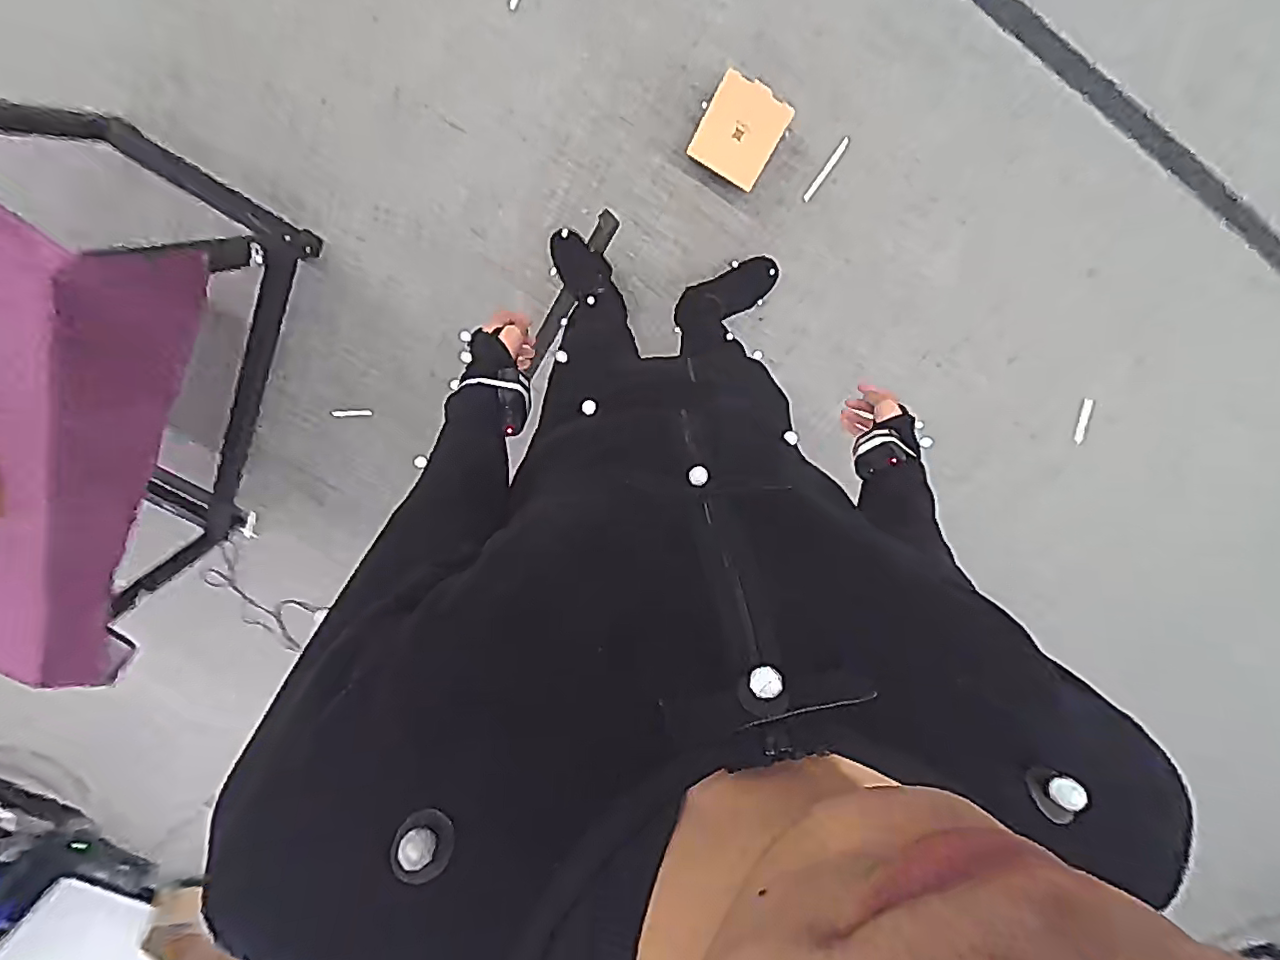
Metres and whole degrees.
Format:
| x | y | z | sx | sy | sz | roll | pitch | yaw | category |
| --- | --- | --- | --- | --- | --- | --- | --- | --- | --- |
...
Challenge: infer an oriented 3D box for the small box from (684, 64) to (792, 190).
| x | y | z | sx | sy | sz | roll | pitch | yaw | category |
| --- | --- | --- | --- | --- | --- | --- | --- | --- | --- |
| 0.216 | -0.781 | 1.217 | 0.168 | 0.176 | 0.179 | 28 | 117 | -9 | small box |
